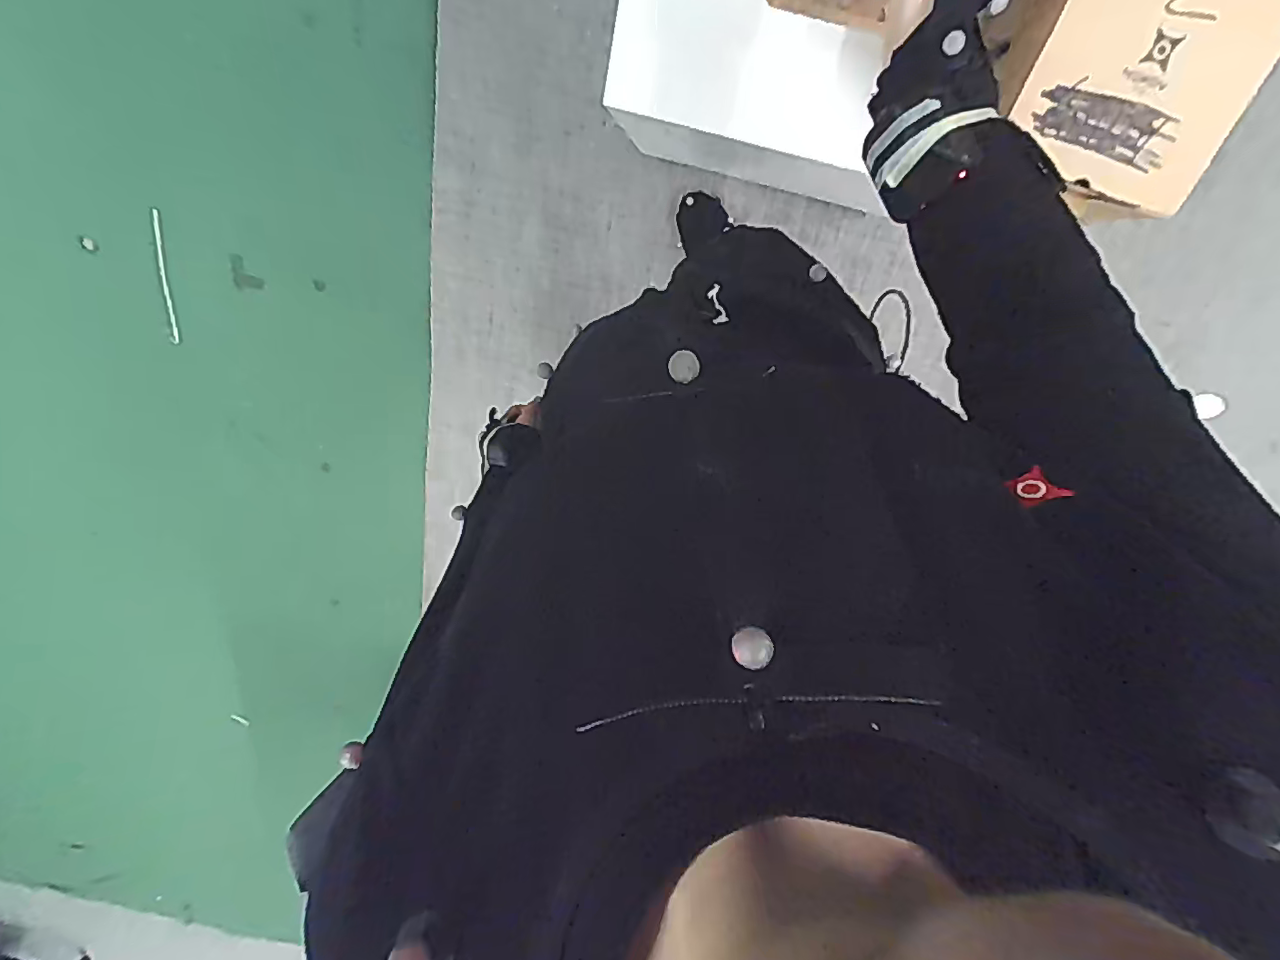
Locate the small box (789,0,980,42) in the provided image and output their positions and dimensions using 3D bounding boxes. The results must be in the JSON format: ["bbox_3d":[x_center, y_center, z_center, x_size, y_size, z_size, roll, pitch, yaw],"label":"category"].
[{"bbox_3d":[0.210,-0.469,0.378,0.168,0.176,0.179,19,101,4],"label":"small box"}]
